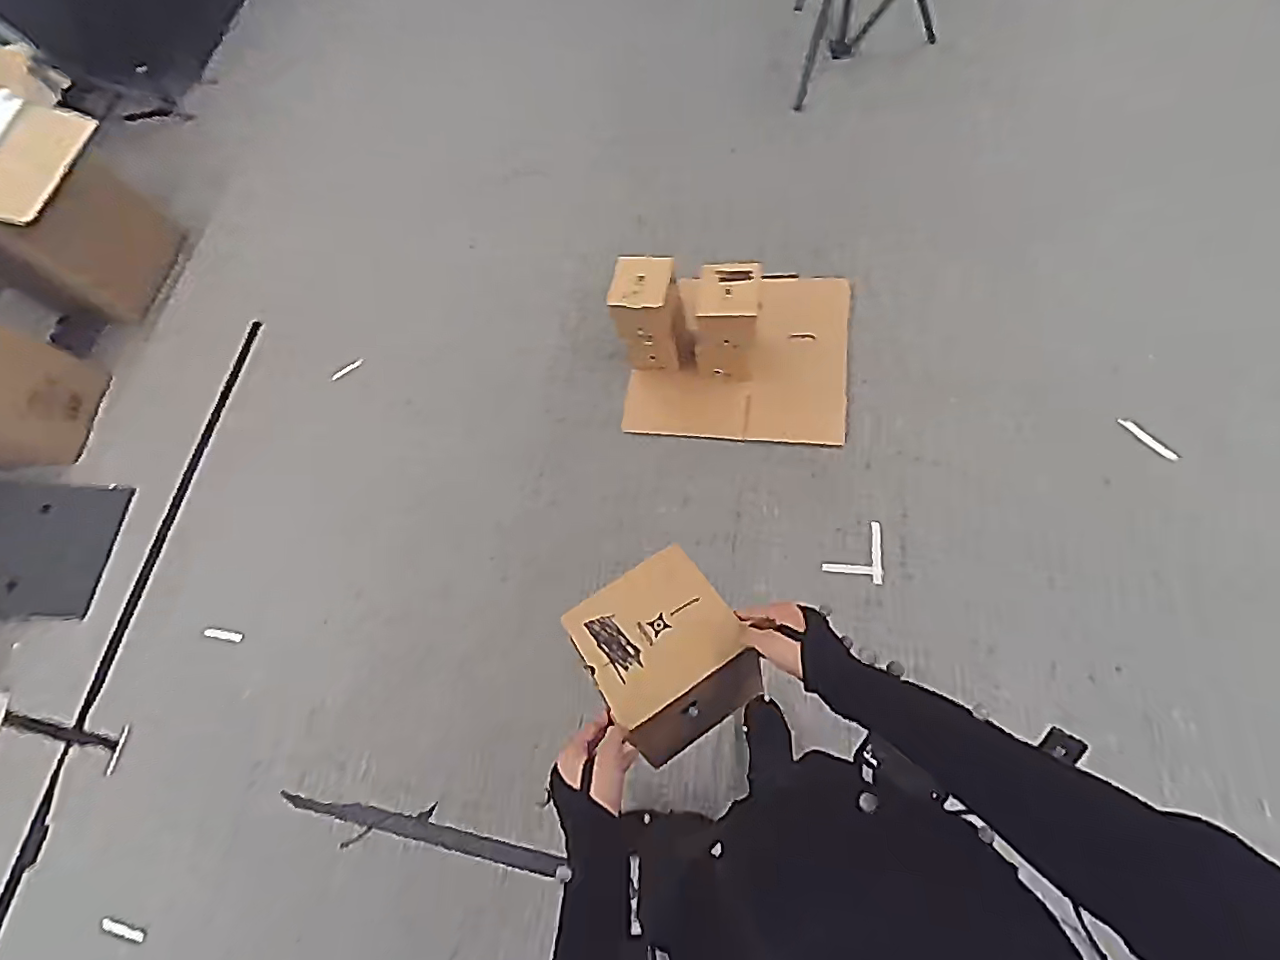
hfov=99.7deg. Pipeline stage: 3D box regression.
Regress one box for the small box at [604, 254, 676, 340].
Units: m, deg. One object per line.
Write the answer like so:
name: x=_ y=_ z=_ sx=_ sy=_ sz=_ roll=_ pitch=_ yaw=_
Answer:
small box: x=0.008 y=-0.543 z=1.608 sx=0.168 sy=0.176 sz=0.179 roll=7 pitch=72 yaw=15

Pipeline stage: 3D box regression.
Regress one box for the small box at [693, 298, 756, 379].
small box: x=0.267 y=-0.442 z=1.697 sx=0.168 sy=0.176 sz=0.179 roll=8 pitch=72 yaw=14

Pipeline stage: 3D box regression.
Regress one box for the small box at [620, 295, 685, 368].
small box: x=0.048 y=-0.479 z=1.755 sx=0.168 sy=0.176 sz=0.179 roll=7 pitch=72 yaw=14

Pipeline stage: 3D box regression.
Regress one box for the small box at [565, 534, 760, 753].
small box: x=0.036 y=0.208 z=0.675 sx=0.179 sy=0.176 sz=0.168 roll=-30 pitch=51 yaw=-10
